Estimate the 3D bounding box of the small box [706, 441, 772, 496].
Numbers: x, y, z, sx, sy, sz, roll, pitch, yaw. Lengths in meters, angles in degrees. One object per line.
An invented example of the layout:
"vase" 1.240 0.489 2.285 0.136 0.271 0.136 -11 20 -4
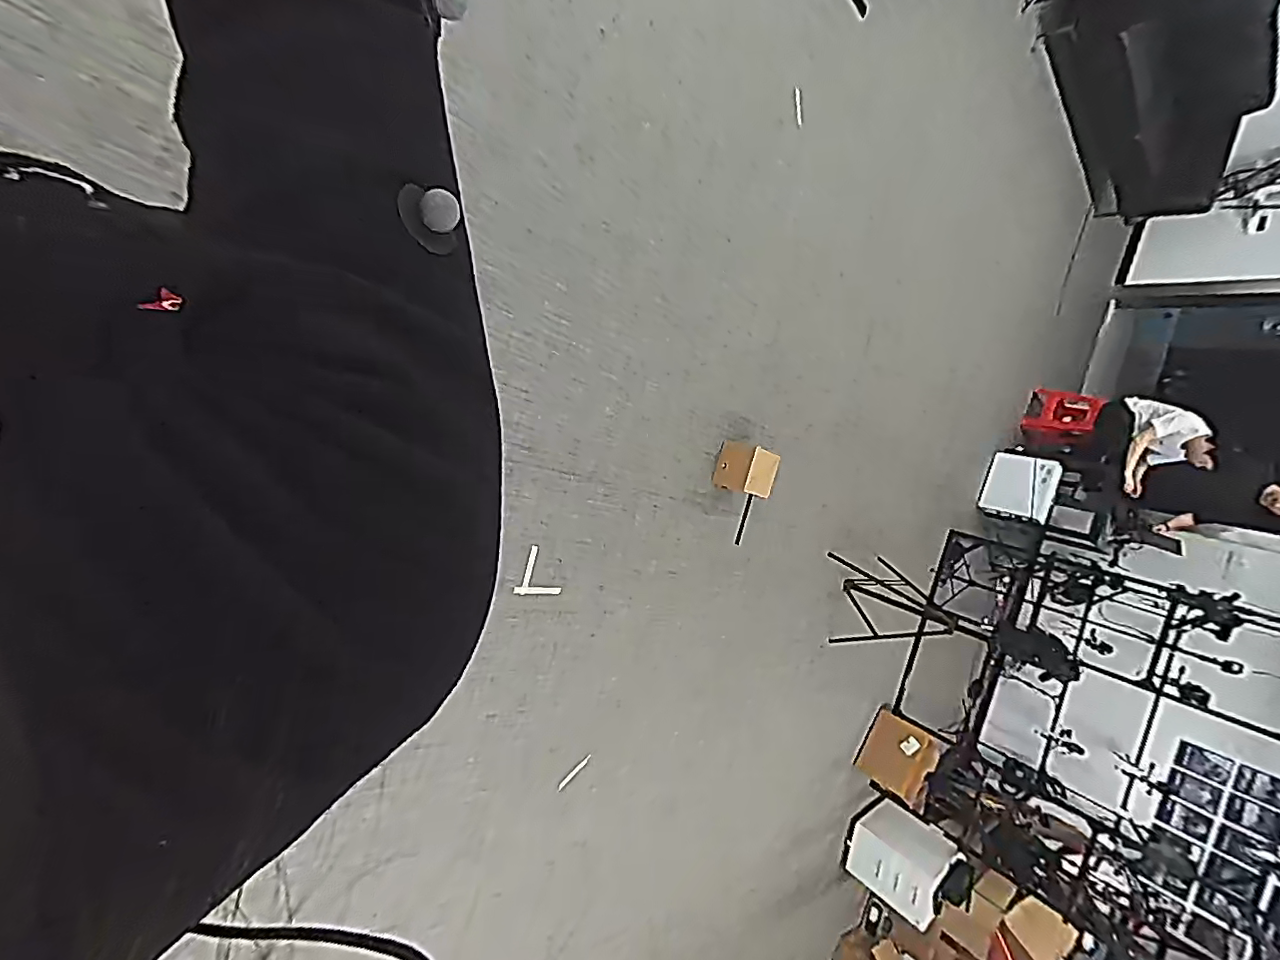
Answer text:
"small box" 0.393 -0.043 2.135 0.168 0.176 0.179 16 92 -43
